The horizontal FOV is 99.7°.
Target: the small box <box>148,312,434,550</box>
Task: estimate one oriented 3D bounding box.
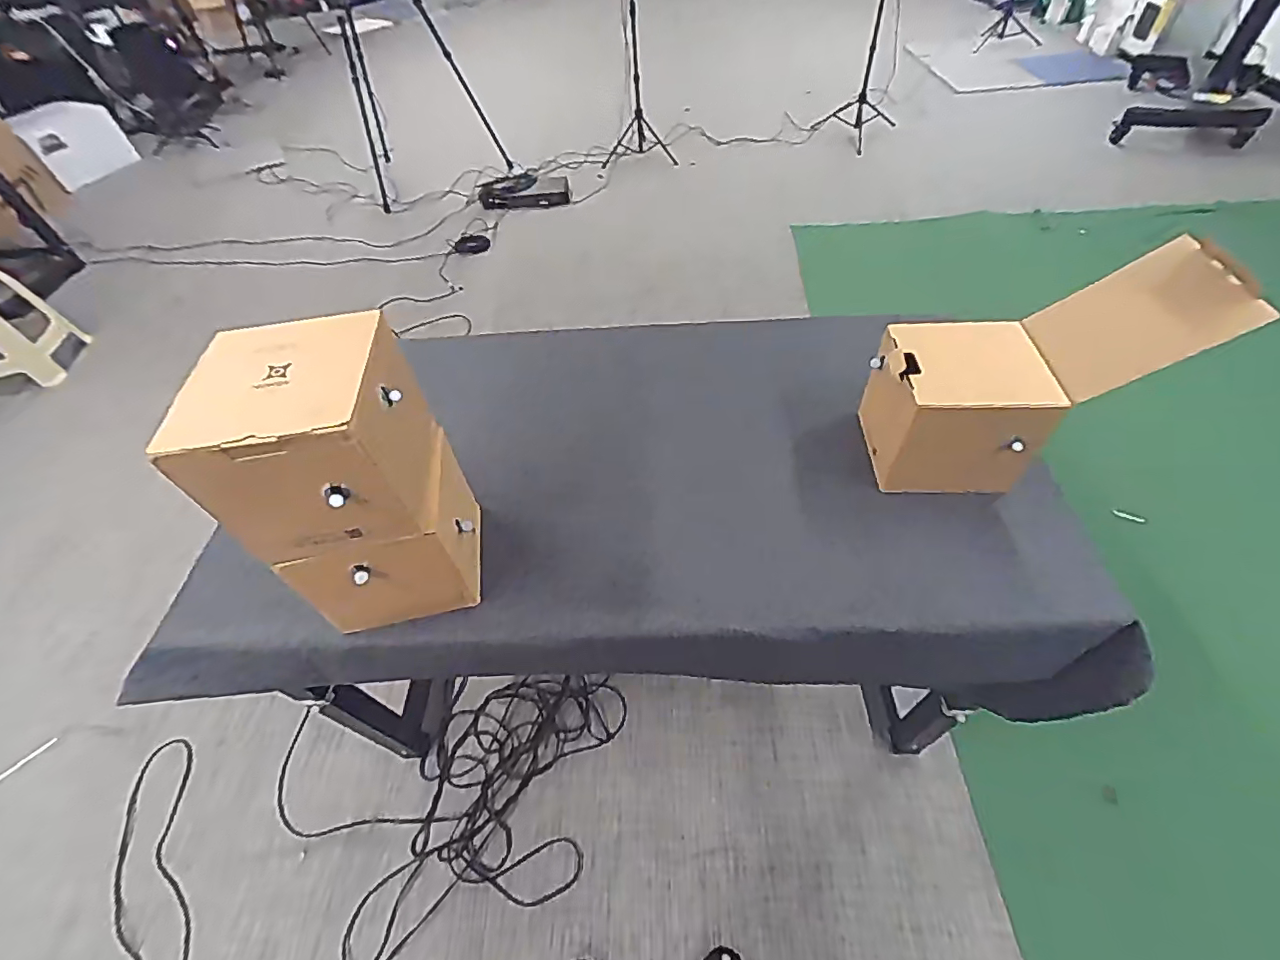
[{"bbox_3d":[-0.325,-0.043,0.554,0.168,0.176,0.179,-9,49,-3],"label":"small box"}]

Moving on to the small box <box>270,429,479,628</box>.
[{"bbox_3d":[-0.308,0.064,0.676,0.179,0.176,0.168,-11,50,-4],"label":"small box"}]
